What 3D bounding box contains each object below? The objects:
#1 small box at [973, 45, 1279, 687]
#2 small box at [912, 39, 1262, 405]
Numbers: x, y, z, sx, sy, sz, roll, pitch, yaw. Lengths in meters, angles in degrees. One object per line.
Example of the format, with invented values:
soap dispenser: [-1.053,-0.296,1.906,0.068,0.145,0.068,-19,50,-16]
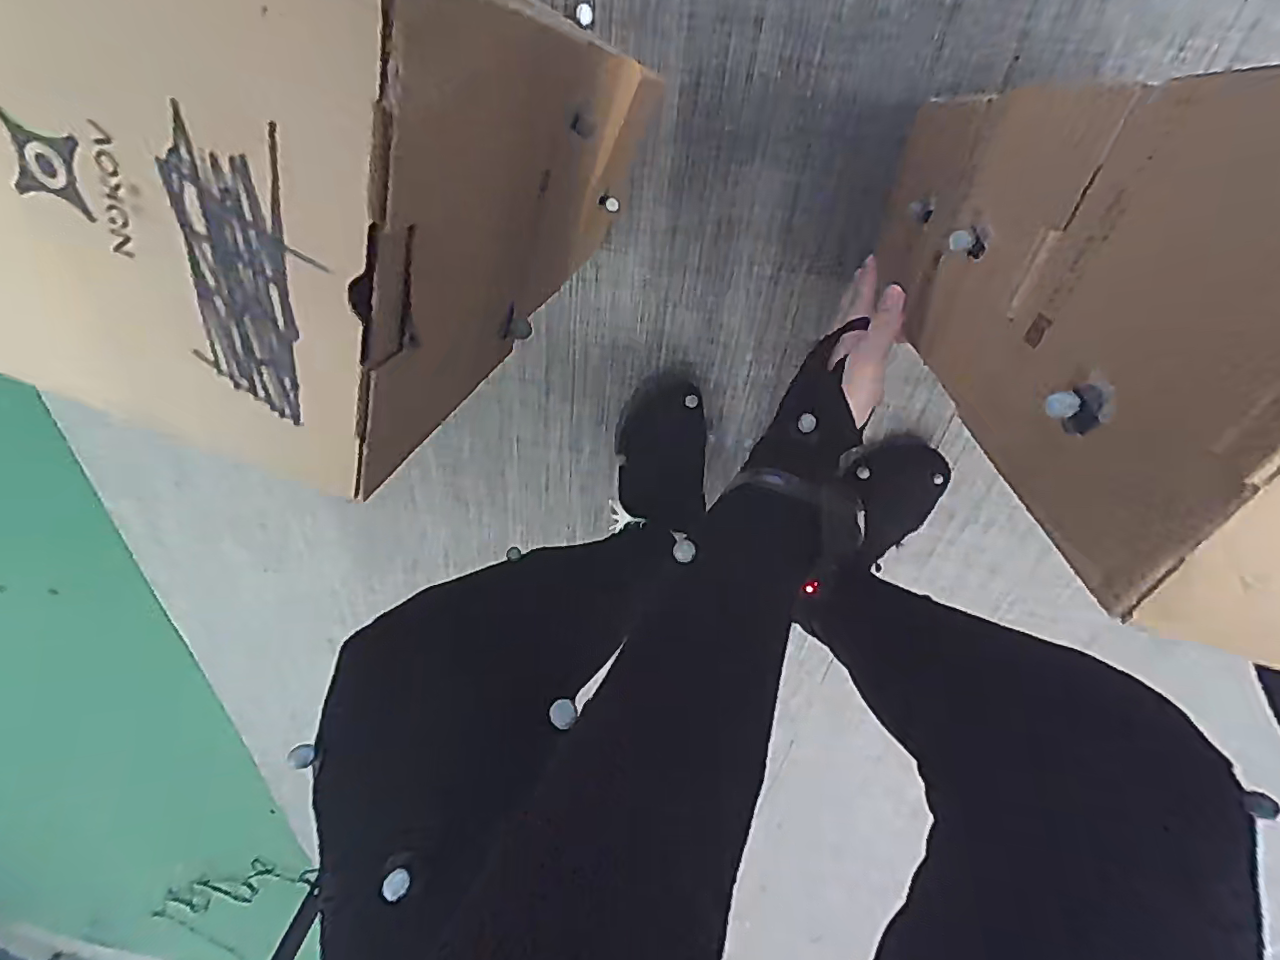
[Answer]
small box: [0.260,-0.036,0.186,0.179,0.176,0.168,17,126,0]
small box: [0.290,-0.131,0.317,0.179,0.176,0.168,14,126,4]
